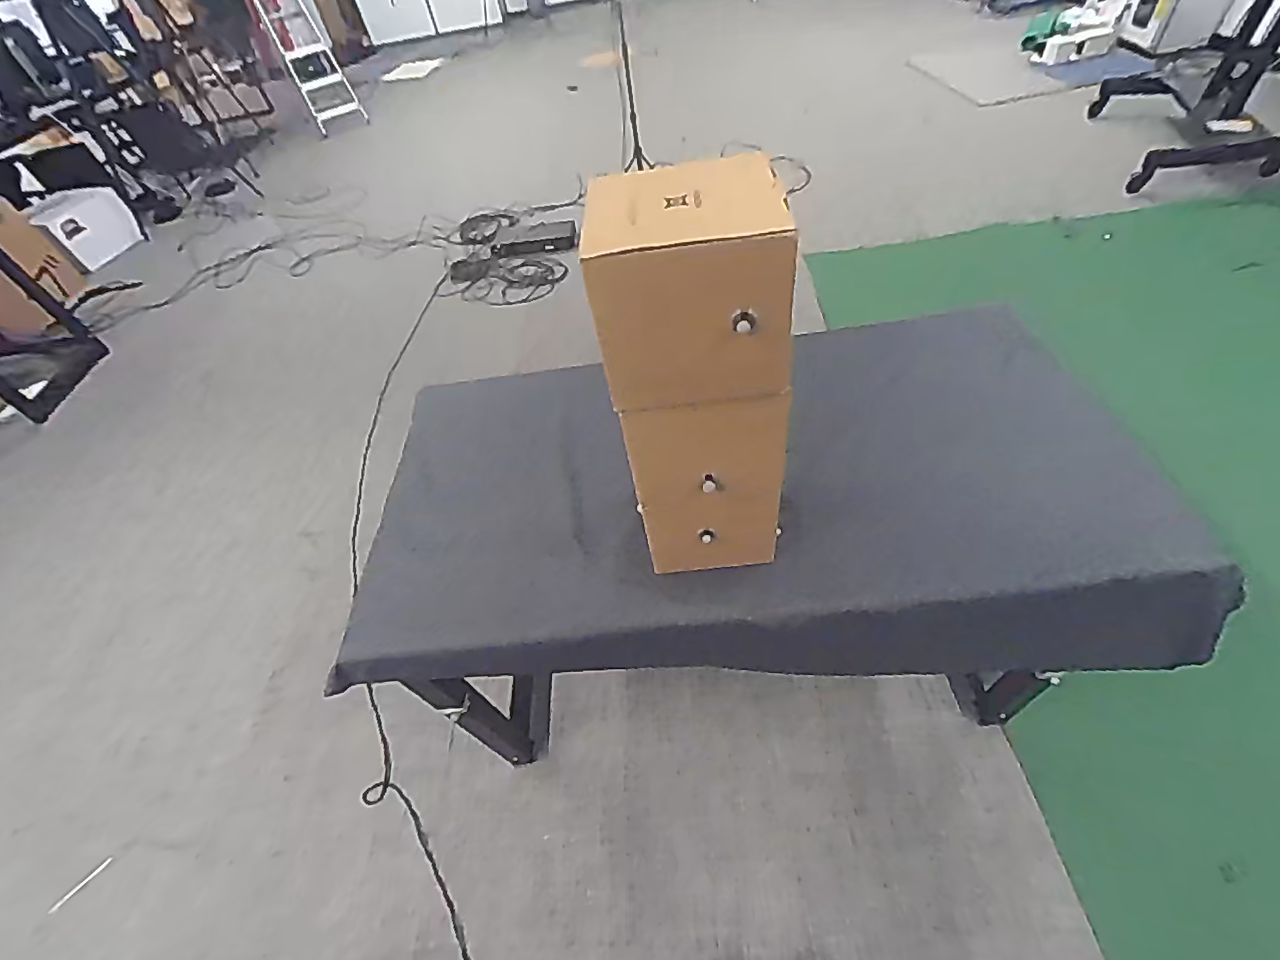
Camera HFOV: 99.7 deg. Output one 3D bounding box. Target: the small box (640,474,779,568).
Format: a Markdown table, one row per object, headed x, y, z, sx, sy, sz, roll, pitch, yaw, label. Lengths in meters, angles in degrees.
| x | y | z | sx | sy | sz | roll | pitch | yaw | label |
| --- | --- | --- | --- | --- | --- | --- | --- | --- | --- |
| 0.098 | 0.014 | 0.788 | 0.179 | 0.176 | 0.168 | -4 | 48 | 7 | small box |

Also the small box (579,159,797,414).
| x | y | z | sx | sy | sz | roll | pitch | yaw | label |
| --- | --- | --- | --- | --- | --- | --- | --- | --- | --- |
| 0.049 | -0.186 | 0.538 | 0.179 | 0.176 | 0.168 | -7 | 48 | 7 | small box |

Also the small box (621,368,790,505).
| x | y | z | sx | sy | sz | roll | pitch | yaw | label |
| --- | --- | --- | --- | --- | --- | --- | --- | --- | --- |
| 0.075 | -0.086 | 0.664 | 0.179 | 0.176 | 0.168 | -5 | 49 | 6 | small box |
